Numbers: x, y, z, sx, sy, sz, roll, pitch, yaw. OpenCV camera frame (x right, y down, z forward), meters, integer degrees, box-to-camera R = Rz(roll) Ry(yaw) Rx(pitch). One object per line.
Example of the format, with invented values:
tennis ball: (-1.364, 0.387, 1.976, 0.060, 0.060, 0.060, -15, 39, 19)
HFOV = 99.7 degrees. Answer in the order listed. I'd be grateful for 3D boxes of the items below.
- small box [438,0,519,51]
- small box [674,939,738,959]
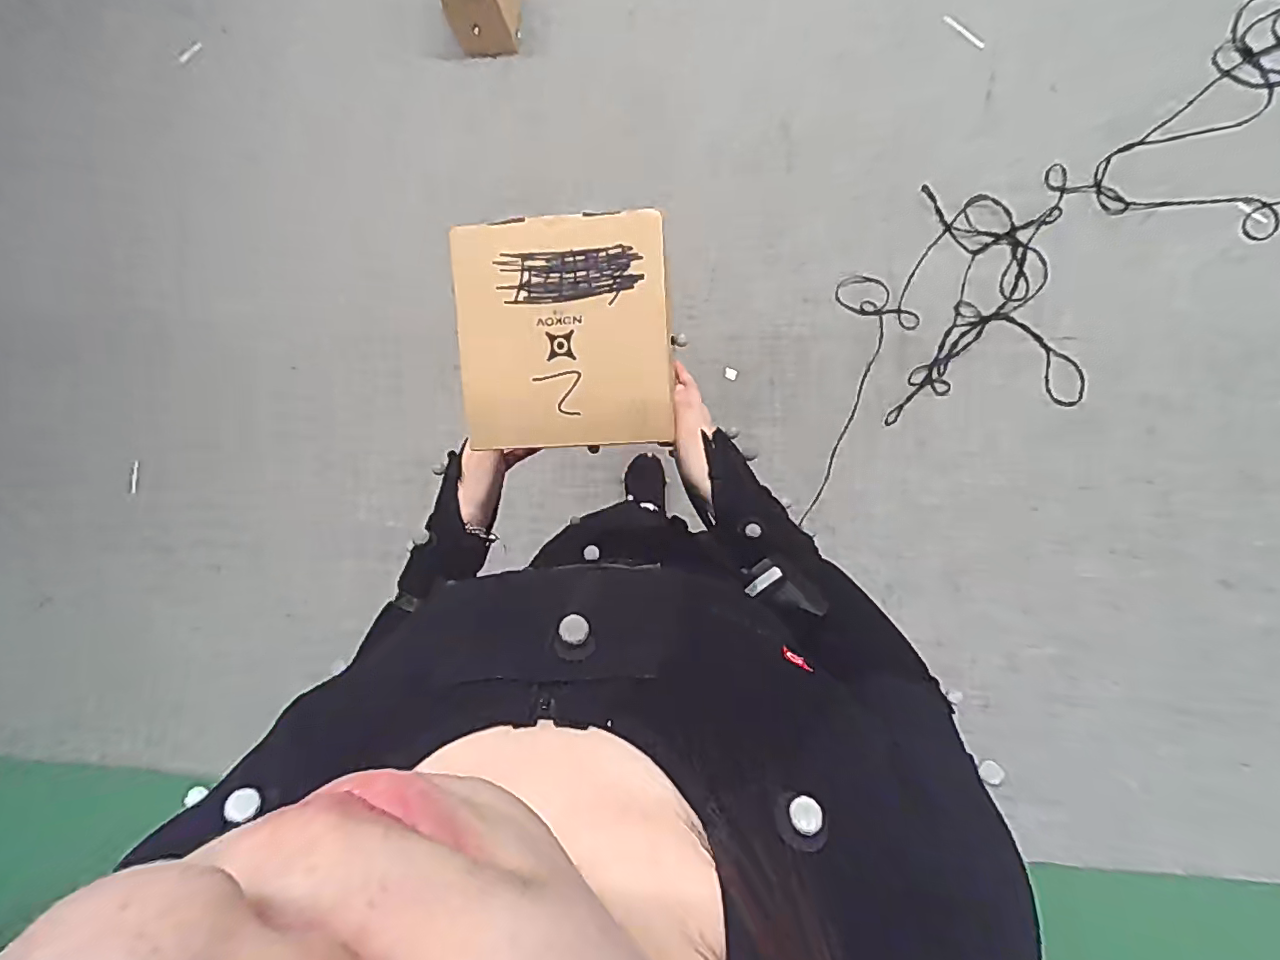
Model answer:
small box: (-0.462, -1.394, 1.573, 0.179, 0.176, 0.168, 3, 87, 7)
small box: (0.165, 1.291, 1.339, 0.168, 0.176, 0.179, 1, 87, 5)
